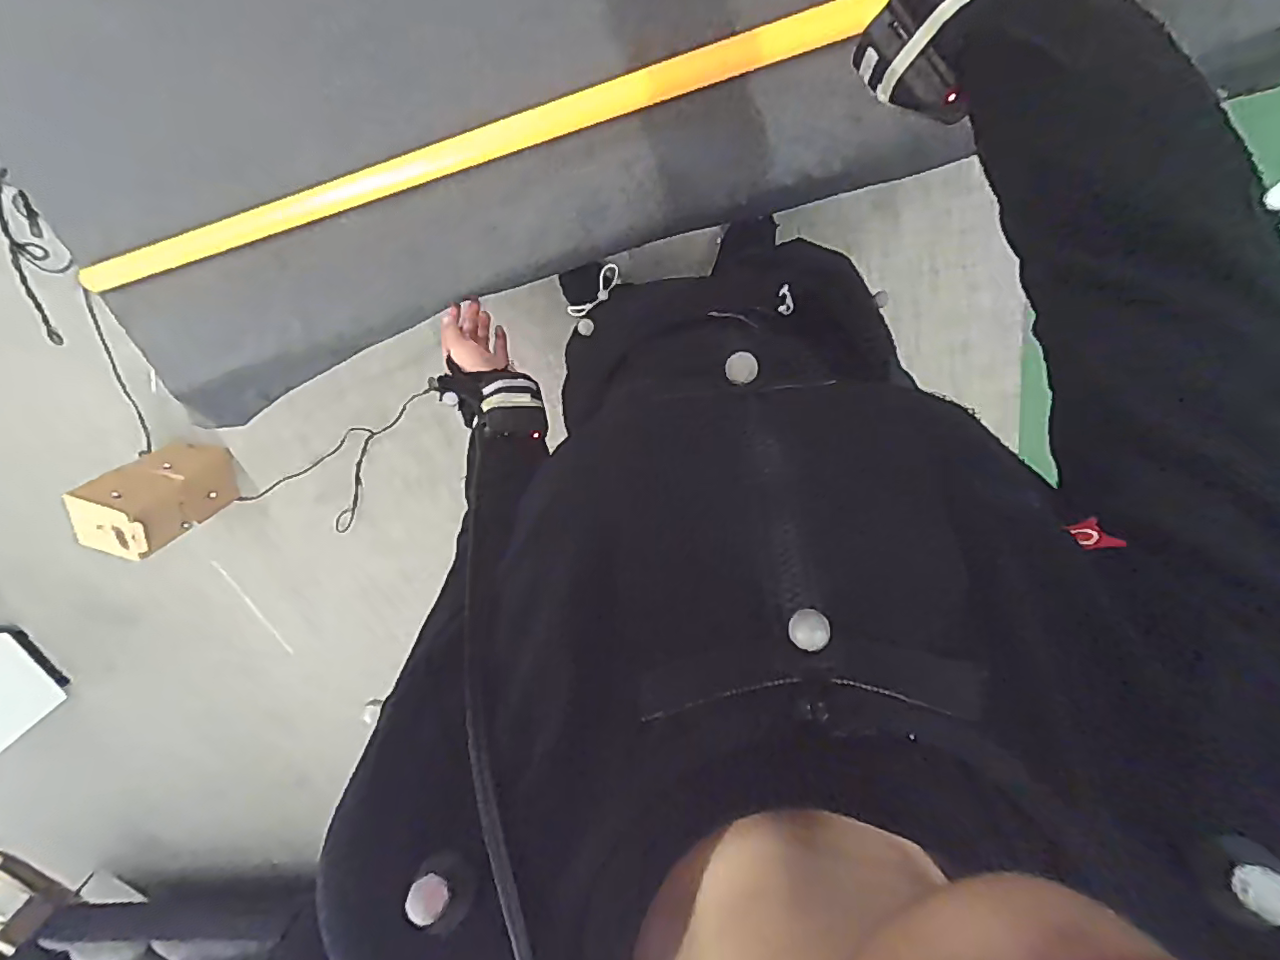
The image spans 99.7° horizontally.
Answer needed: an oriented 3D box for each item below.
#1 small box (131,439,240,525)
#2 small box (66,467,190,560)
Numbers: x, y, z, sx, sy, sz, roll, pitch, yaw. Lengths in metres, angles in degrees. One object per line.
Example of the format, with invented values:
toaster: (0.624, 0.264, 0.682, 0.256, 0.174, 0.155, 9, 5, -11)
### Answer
small box: (-1.342, 0.004, 1.613, 0.168, 0.176, 0.179, 12, 120, 2)
small box: (-1.375, 0.085, 1.472, 0.179, 0.176, 0.168, 17, 120, 0)
